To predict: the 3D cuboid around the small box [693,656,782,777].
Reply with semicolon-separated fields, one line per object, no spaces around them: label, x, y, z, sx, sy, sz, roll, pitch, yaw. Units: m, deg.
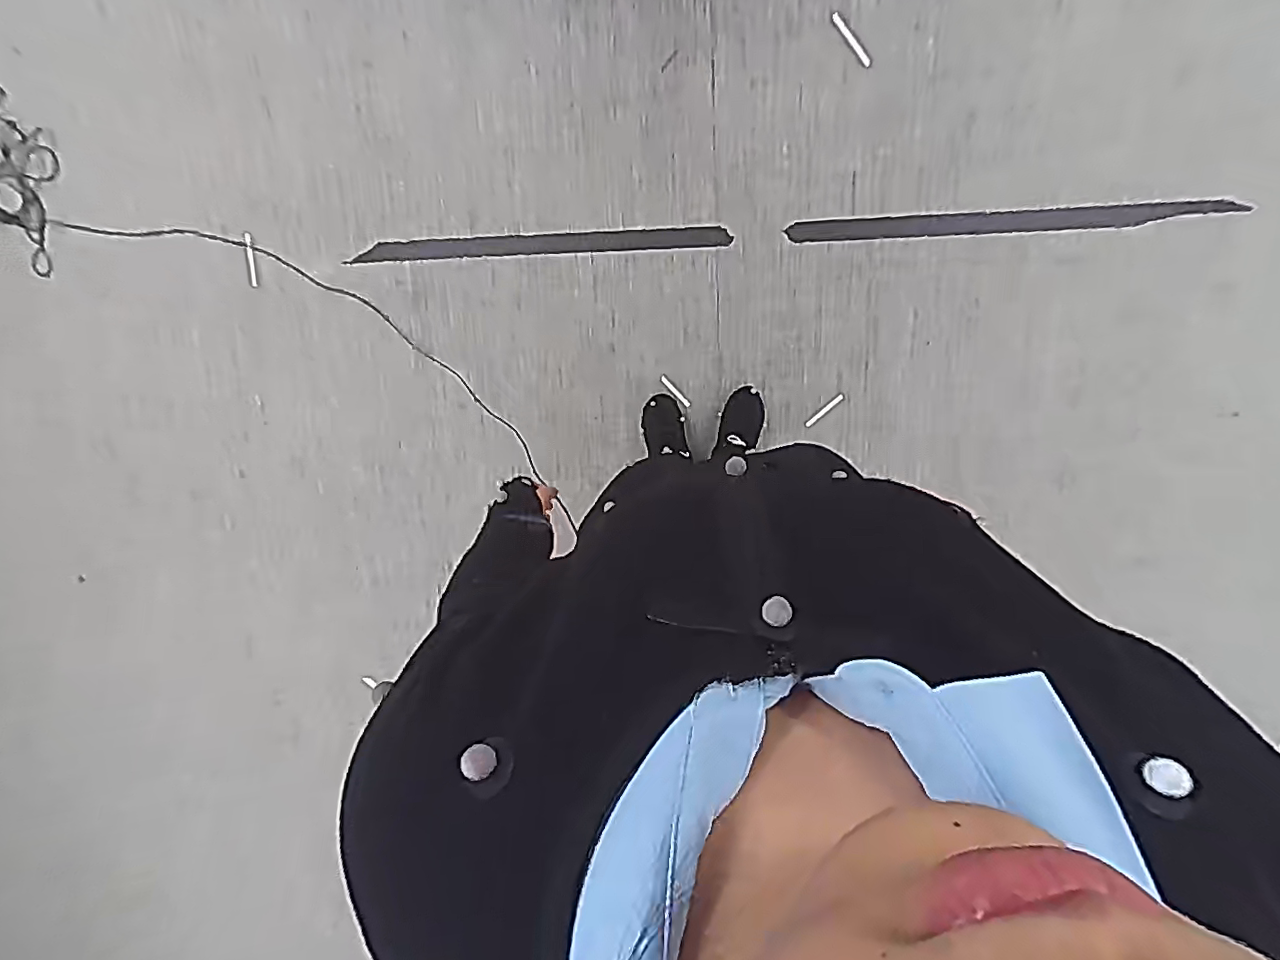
small box;0.205;0.506;1.169;0.168;0.176;0.179;-7;99;6
